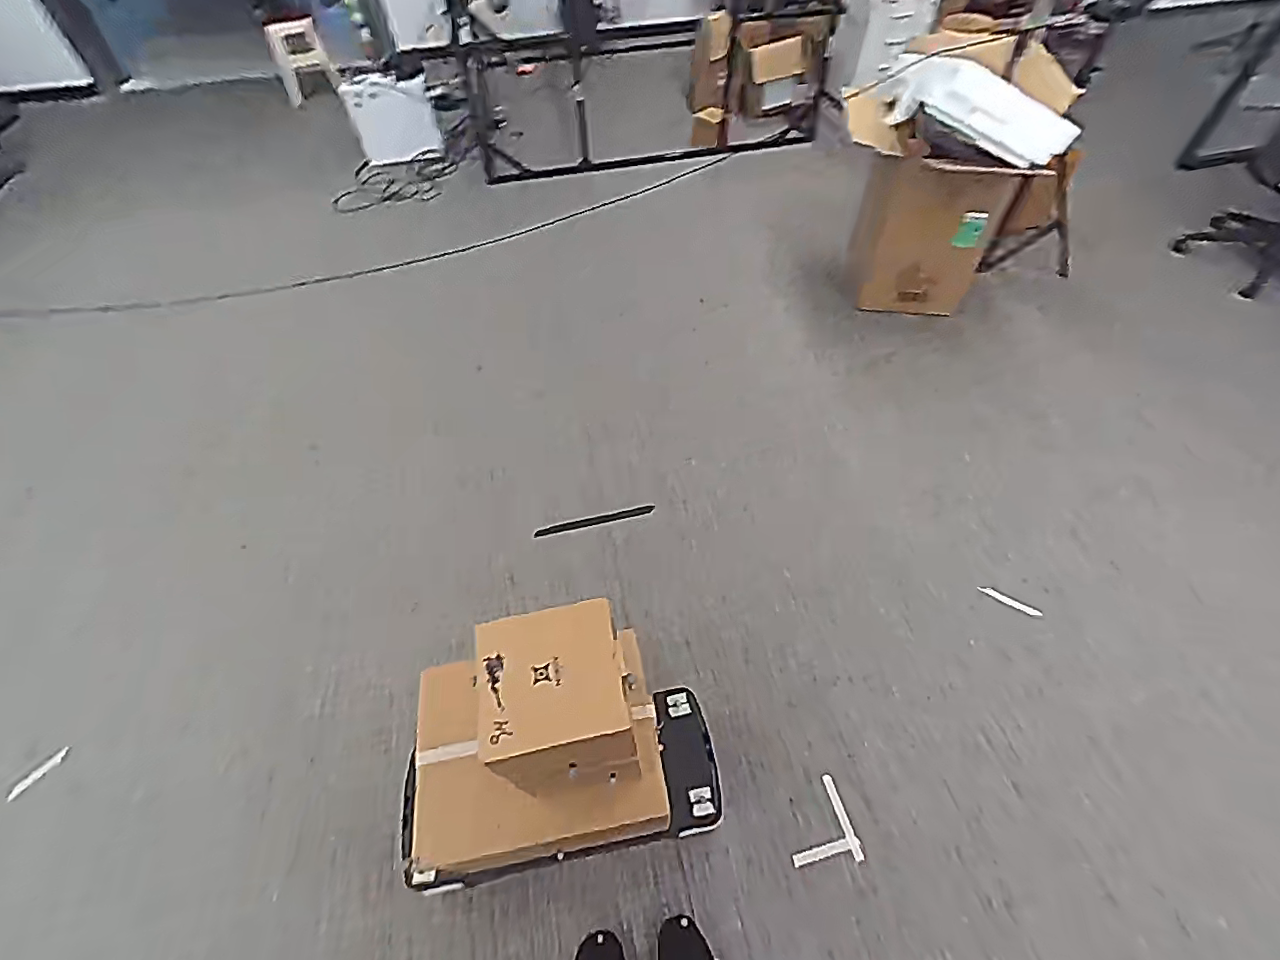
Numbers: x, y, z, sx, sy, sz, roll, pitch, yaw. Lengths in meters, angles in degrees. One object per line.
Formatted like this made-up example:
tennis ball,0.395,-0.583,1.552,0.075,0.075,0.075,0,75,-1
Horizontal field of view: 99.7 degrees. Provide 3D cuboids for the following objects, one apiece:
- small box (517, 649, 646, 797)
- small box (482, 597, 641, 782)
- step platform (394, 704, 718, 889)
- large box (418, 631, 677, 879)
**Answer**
small box,-0.089,0.375,0.836,0.179,0.176,0.168,-10,53,-4
small box,-0.098,0.276,0.706,0.179,0.176,0.168,-10,53,-6
step platform,-0.174,0.696,1.203,0.684,0.204,0.286,-6,53,-1
large box,-0.159,0.527,1.032,0.408,0.320,0.320,-11,52,-4
